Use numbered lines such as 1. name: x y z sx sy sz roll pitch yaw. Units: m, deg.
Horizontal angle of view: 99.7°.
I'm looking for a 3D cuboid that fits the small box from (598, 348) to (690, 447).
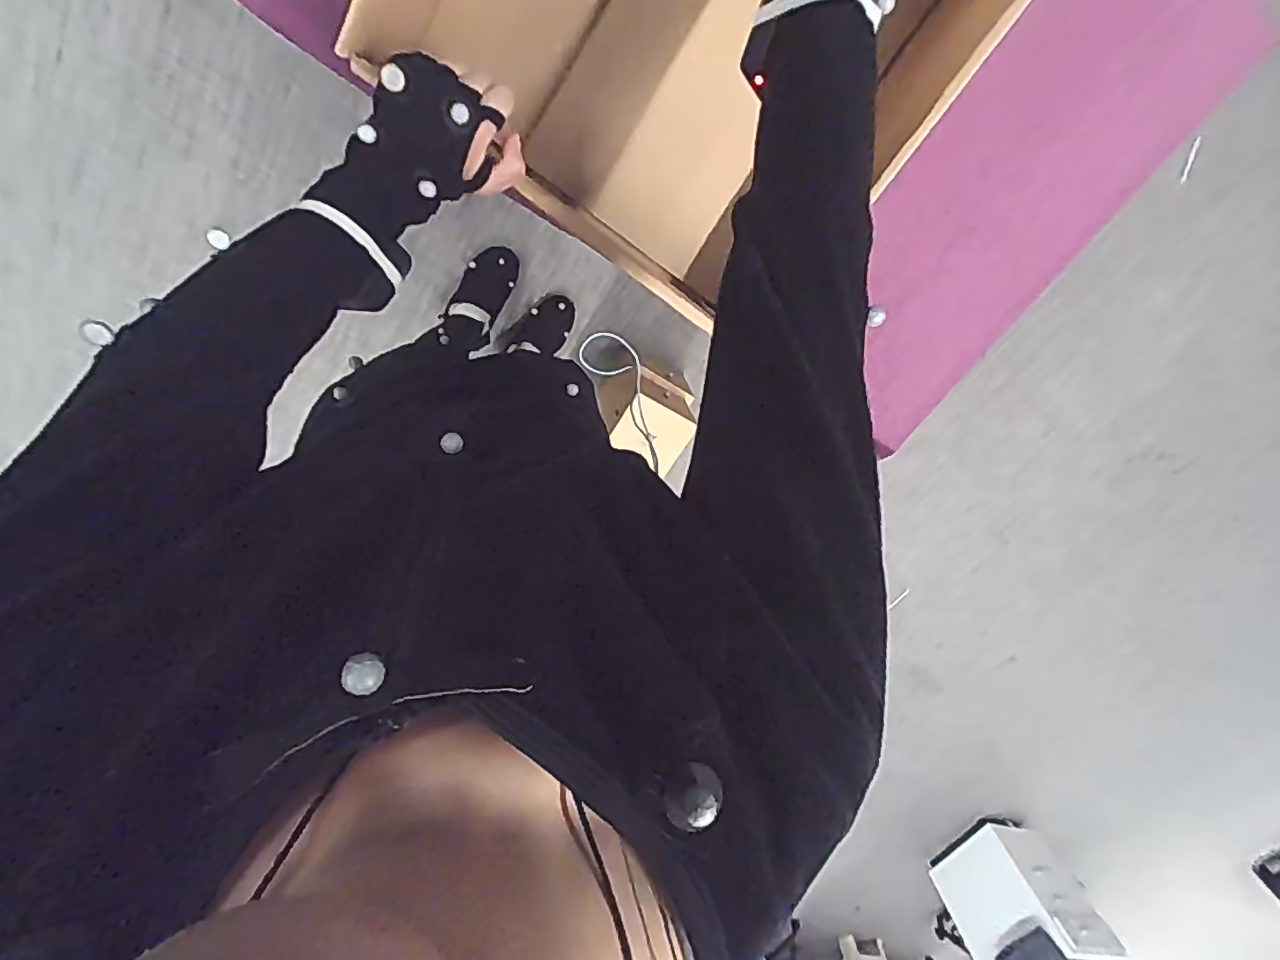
1. small box: 0.004 -0.221 1.415 0.179 0.176 0.168 28 112 -20
